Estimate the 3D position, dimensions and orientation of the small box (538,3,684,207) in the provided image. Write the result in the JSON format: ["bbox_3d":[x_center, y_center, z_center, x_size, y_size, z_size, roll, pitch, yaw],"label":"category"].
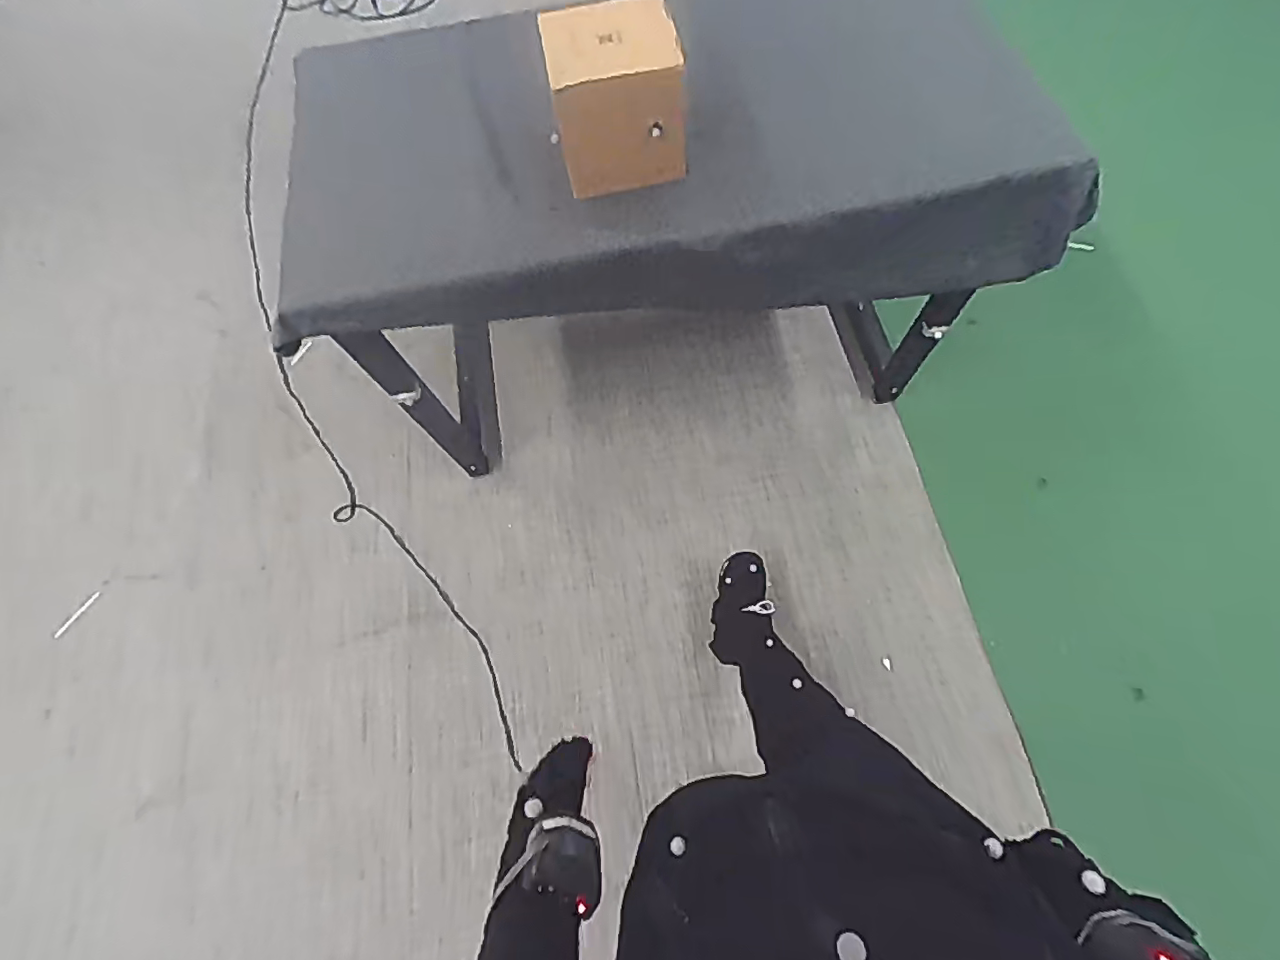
[{"bbox_3d":[-0.036,-0.537,0.791,0.179,0.176,0.168,-12,67,1],"label":"small box"}]
